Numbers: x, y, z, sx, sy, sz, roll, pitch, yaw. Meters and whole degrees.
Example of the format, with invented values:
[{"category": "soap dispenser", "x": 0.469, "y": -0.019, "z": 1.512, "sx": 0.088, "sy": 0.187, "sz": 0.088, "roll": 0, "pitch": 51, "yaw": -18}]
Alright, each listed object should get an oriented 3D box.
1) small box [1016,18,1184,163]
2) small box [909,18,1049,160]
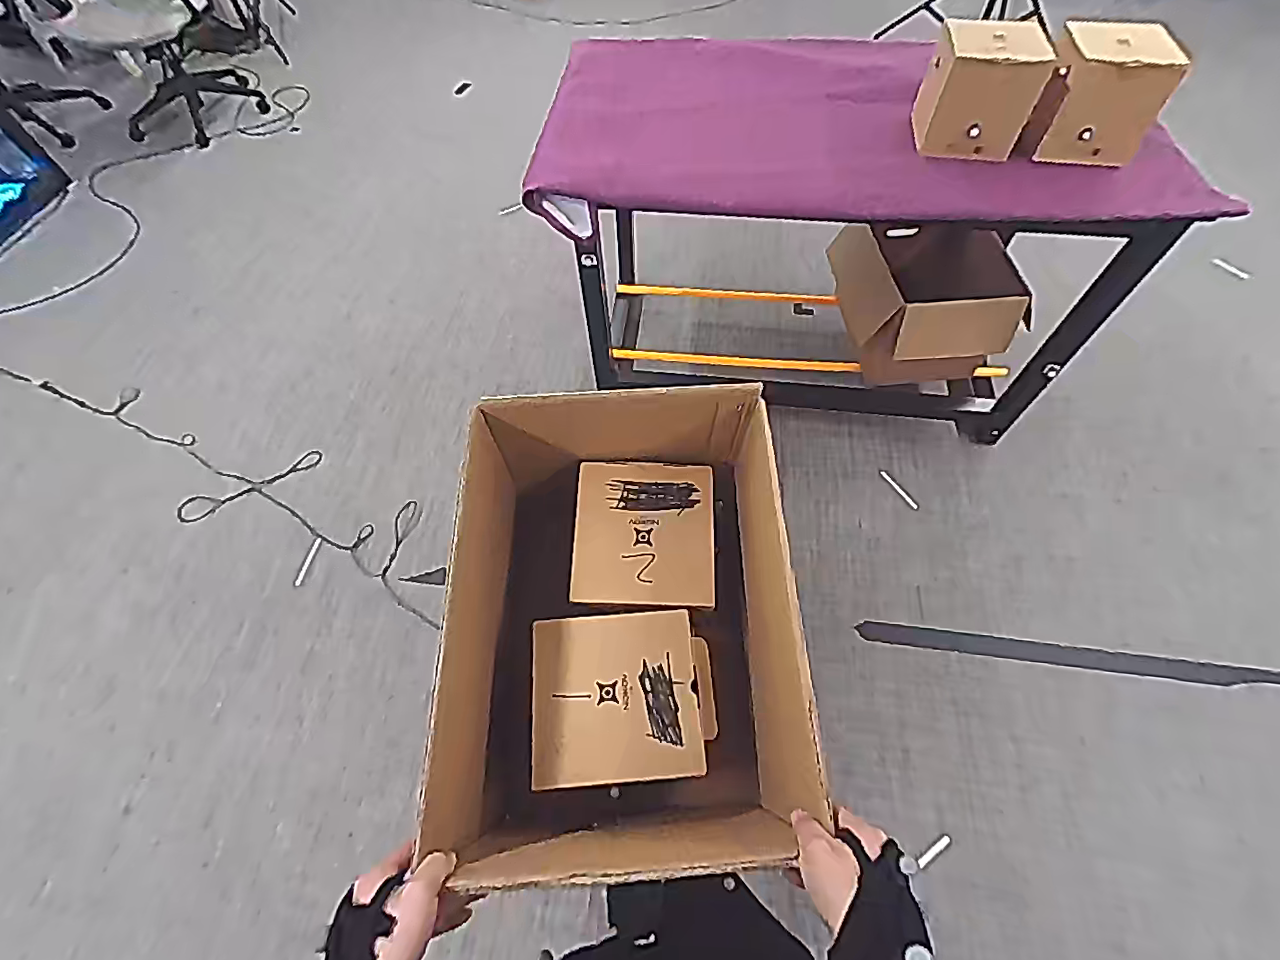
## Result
[{"category": "small box", "x": 0.843, "y": -0.732, "z": 1.019, "sx": 0.168, "sy": 0.176, "sz": 0.179, "roll": 8, "pitch": 58, "yaw": 8}, {"category": "small box", "x": 0.634, "y": -0.750, "z": 1.039, "sx": 0.168, "sy": 0.176, "sz": 0.179, "roll": 8, "pitch": 59, "yaw": 8}]
